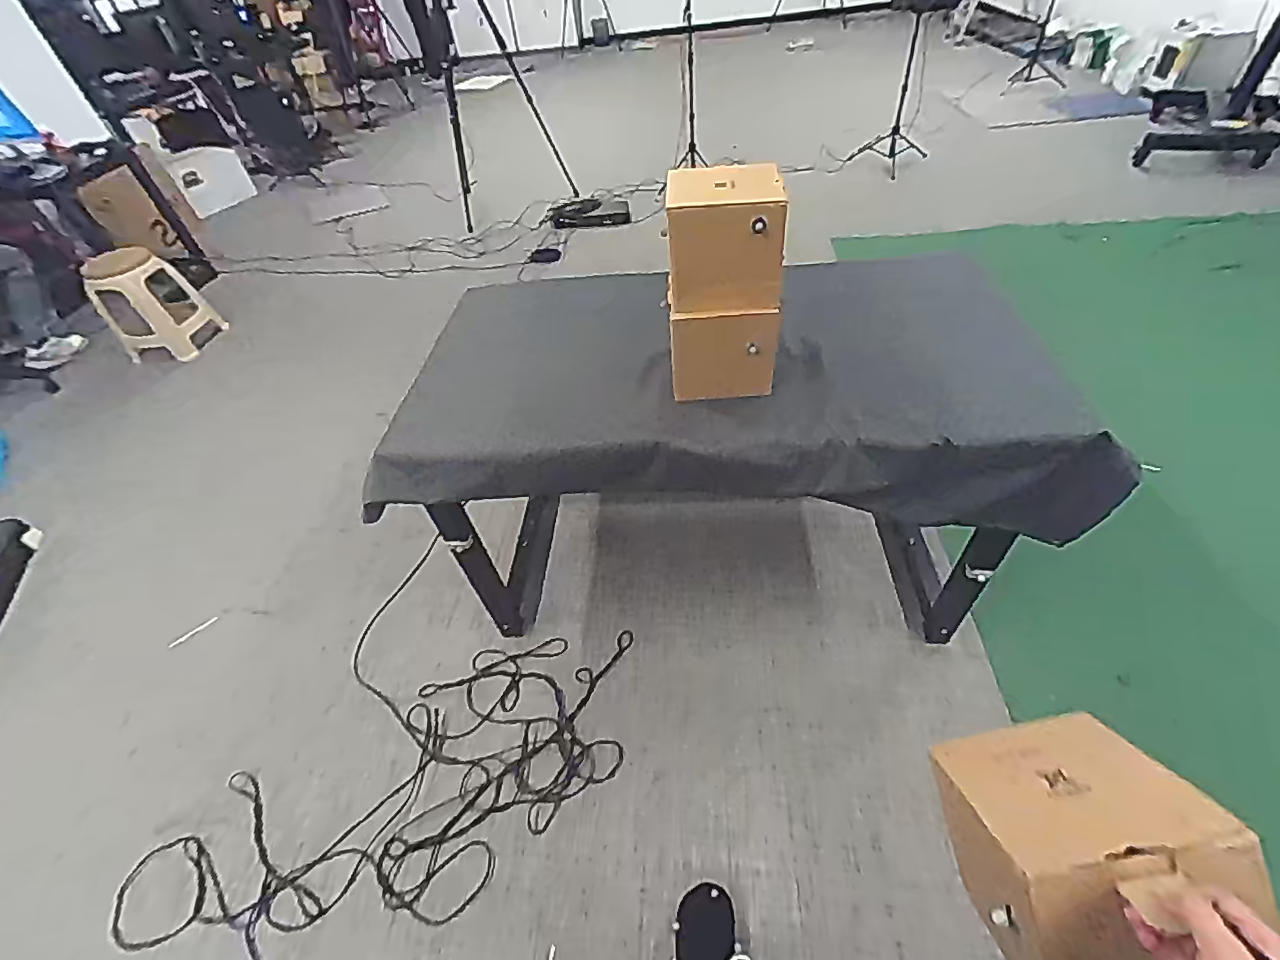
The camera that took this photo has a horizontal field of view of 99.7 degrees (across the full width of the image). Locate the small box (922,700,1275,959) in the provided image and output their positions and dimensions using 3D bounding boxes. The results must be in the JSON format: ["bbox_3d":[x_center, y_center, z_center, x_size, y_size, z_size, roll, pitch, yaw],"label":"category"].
[{"bbox_3d":[0.390,0.332,0.482,0.168,0.176,0.179,-15,2,5],"label":"small box"}]

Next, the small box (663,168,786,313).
[{"bbox_3d":[0.132,-0.383,0.876,0.179,0.176,0.168,-1,46,6],"label":"small box"}]
